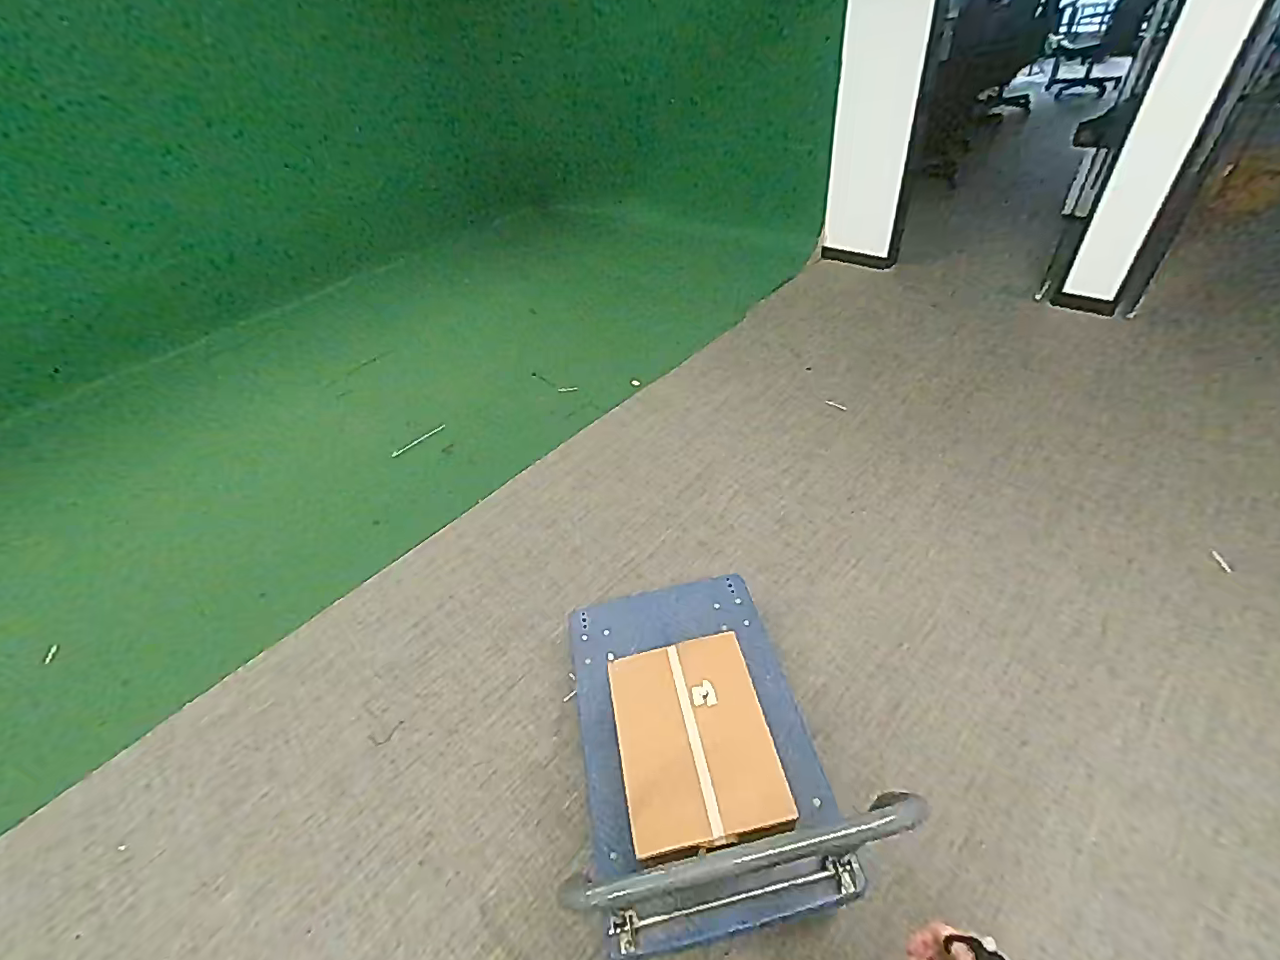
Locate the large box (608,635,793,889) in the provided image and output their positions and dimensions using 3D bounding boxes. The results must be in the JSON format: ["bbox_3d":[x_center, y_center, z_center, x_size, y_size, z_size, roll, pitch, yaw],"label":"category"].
[{"bbox_3d":[0.129,0.645,1.257,0.320,0.320,0.408,-13,42,-2],"label":"large box"}]
